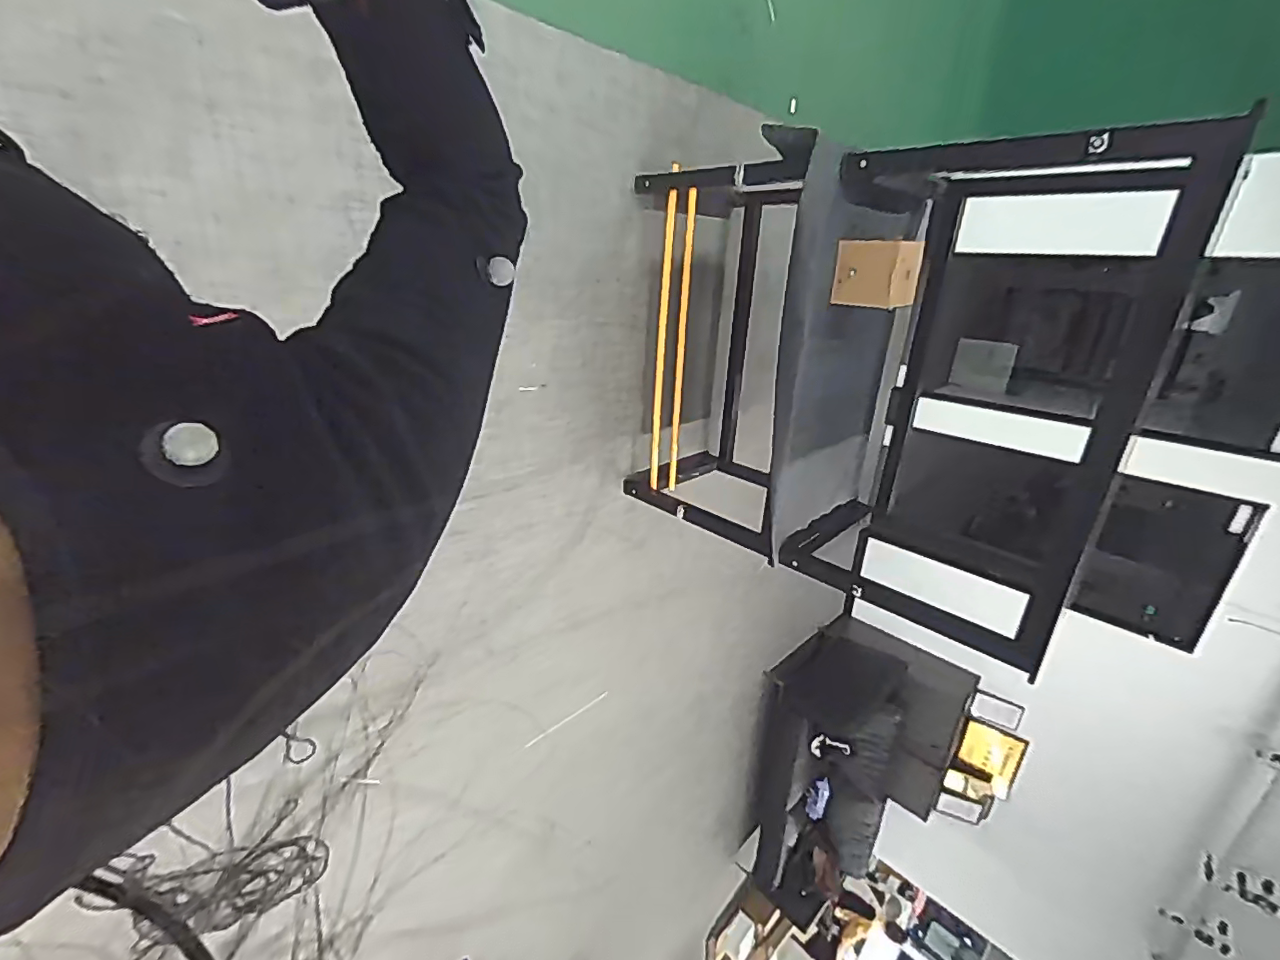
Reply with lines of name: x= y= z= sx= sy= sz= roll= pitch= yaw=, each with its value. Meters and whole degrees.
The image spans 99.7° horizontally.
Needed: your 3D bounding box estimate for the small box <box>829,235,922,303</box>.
small box: x=0.655 y=-0.592 z=1.512 sx=0.179 sy=0.176 sz=0.168 roll=-21 pitch=122 yaw=-41
